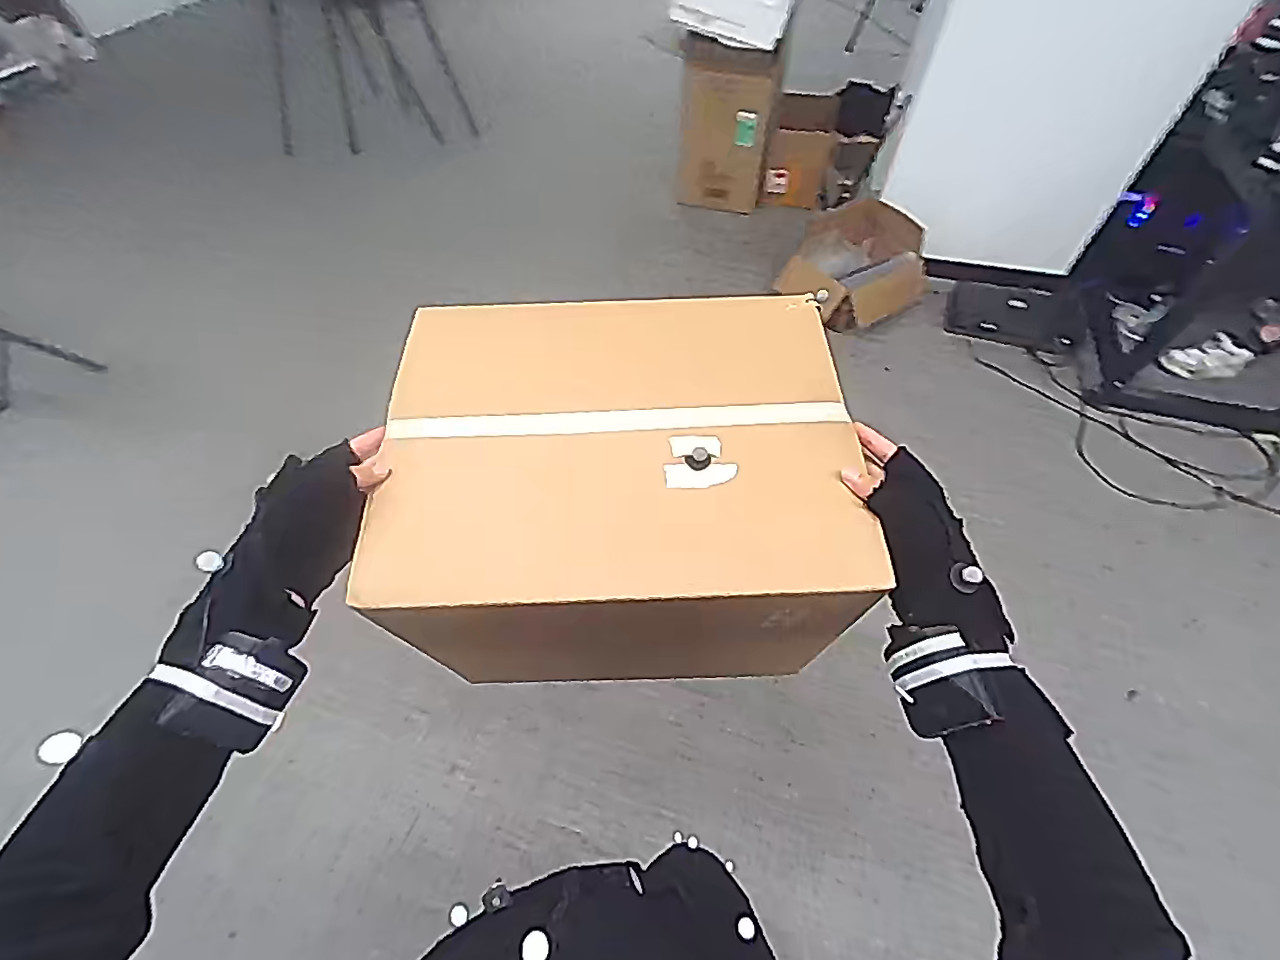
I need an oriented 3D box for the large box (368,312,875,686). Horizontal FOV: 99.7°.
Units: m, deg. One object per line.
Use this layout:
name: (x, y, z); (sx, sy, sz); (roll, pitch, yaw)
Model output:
large box: (-0.020, 0.037, 0.619); (0.408, 0.320, 0.320); (-2, 59, -1)
